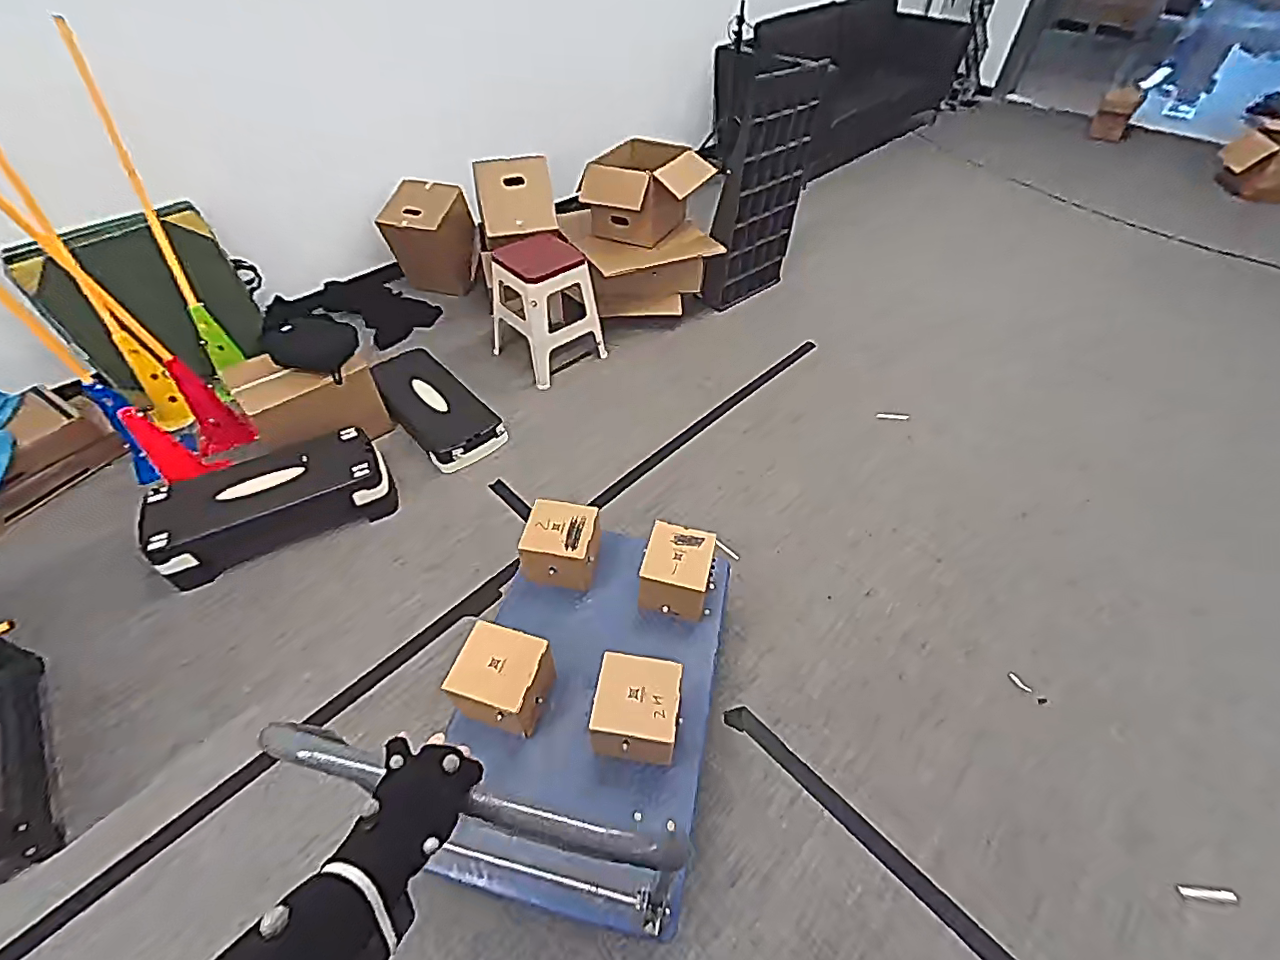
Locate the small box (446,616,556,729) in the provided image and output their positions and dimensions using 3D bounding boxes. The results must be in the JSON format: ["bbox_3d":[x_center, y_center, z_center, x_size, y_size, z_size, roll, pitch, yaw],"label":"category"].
[{"bbox_3d":[-0.303,0.439,1.222,0.179,0.176,0.168,14,50,9],"label":"small box"}]

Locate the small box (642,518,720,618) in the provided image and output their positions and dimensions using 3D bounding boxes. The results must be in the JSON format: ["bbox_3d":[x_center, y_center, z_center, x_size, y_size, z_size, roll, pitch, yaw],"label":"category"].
[{"bbox_3d":[0.103,0.231,1.412,0.168,0.176,0.179,12,51,9],"label":"small box"}]

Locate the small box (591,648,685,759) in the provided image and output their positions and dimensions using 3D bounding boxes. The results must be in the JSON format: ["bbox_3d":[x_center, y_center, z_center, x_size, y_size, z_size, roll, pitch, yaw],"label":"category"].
[{"bbox_3d":[-0.001,0.491,1.182,0.179,0.176,0.168,8,49,6],"label":"small box"}]
